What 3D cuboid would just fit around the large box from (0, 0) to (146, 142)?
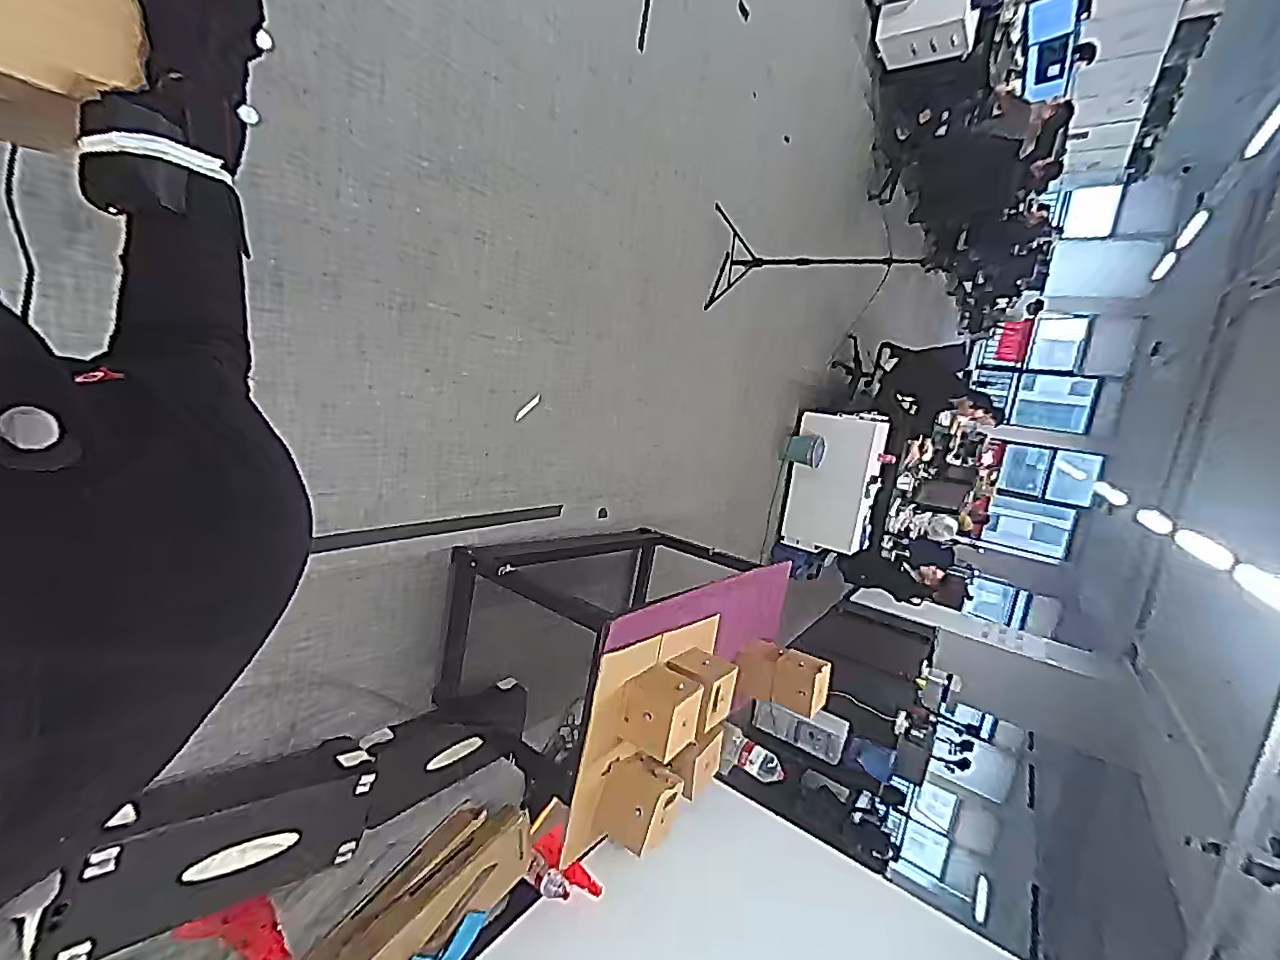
[{"bbox_3d":[-0.570,-0.438,0.282,0.408,0.320,0.320,-5,110,-56],"label":"large box"}]
